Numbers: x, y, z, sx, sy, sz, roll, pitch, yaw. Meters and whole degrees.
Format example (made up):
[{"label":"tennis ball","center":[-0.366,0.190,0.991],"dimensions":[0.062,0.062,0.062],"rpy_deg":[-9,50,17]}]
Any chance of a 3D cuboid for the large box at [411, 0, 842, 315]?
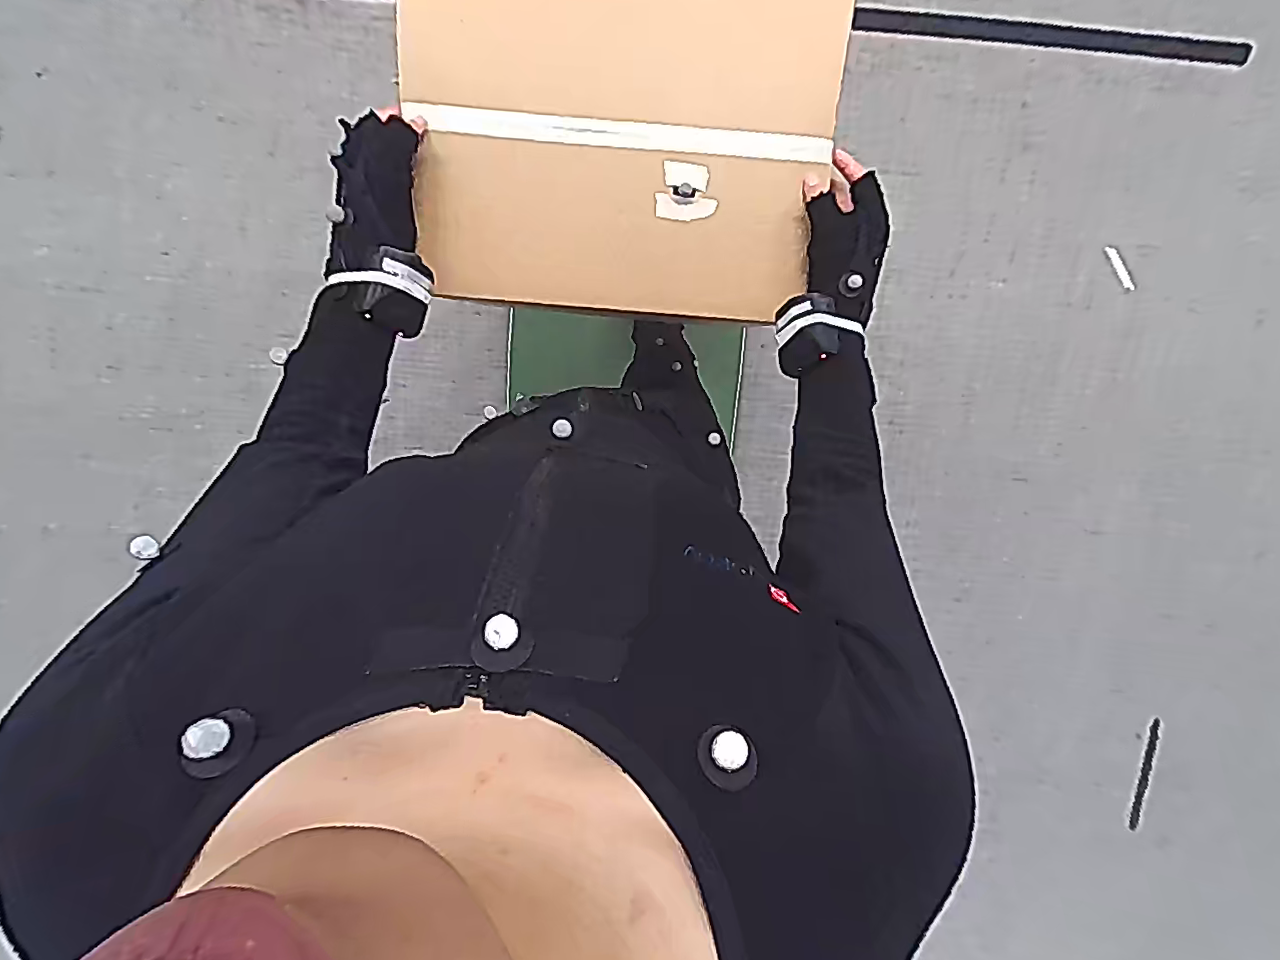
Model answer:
[{"label":"large box","center":[-0.022,-0.379,0.668],"dimensions":[0.408,0.320,0.320],"rpy_deg":[3,106,-2]}]
